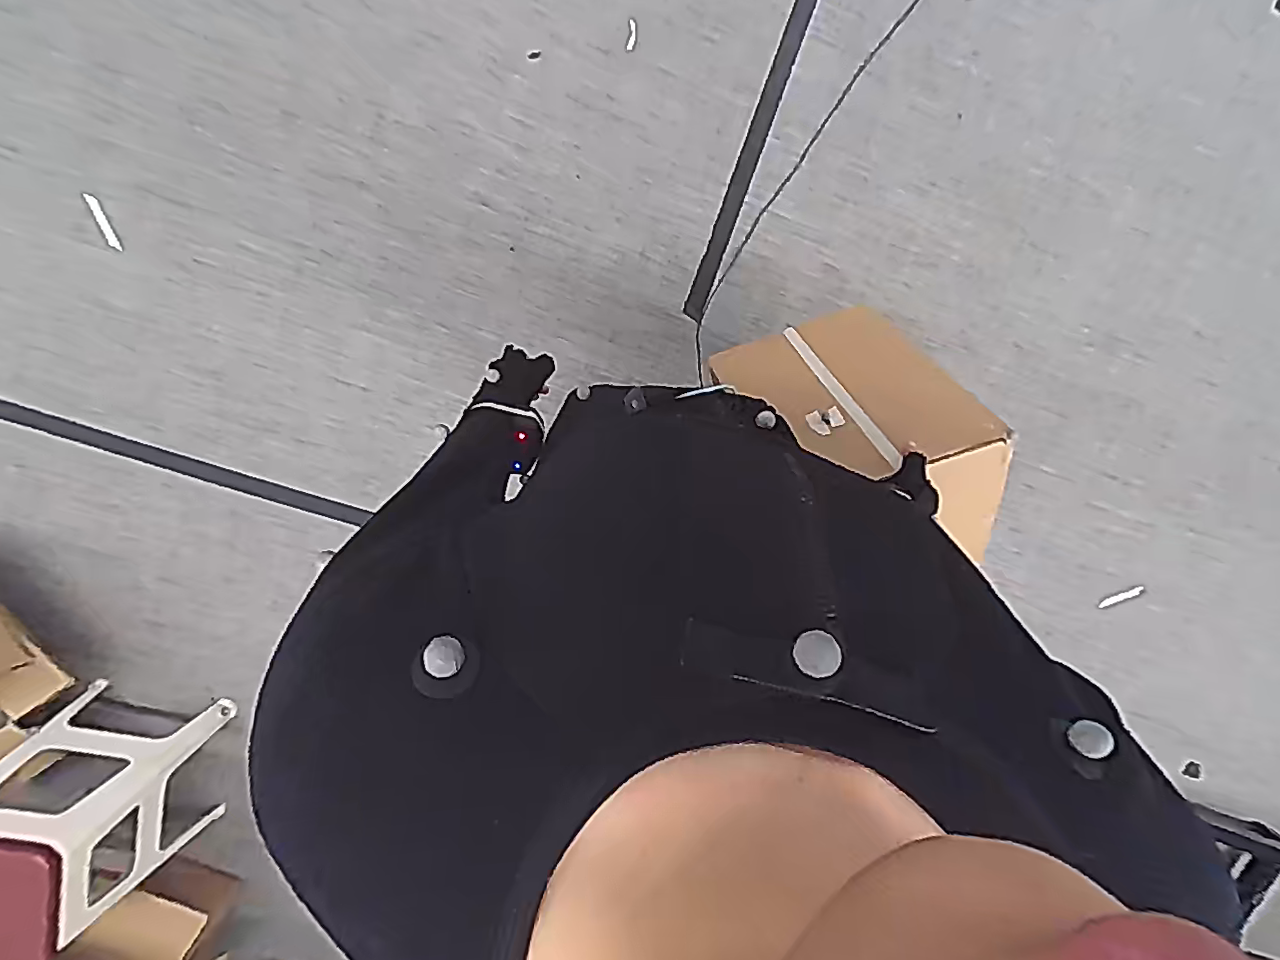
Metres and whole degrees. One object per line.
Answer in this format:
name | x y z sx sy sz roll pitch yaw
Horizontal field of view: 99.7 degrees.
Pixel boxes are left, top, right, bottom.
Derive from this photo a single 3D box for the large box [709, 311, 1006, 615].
large box | 0.347 -0.037 0.976 0.320 0.408 0.320 -19 135 3
